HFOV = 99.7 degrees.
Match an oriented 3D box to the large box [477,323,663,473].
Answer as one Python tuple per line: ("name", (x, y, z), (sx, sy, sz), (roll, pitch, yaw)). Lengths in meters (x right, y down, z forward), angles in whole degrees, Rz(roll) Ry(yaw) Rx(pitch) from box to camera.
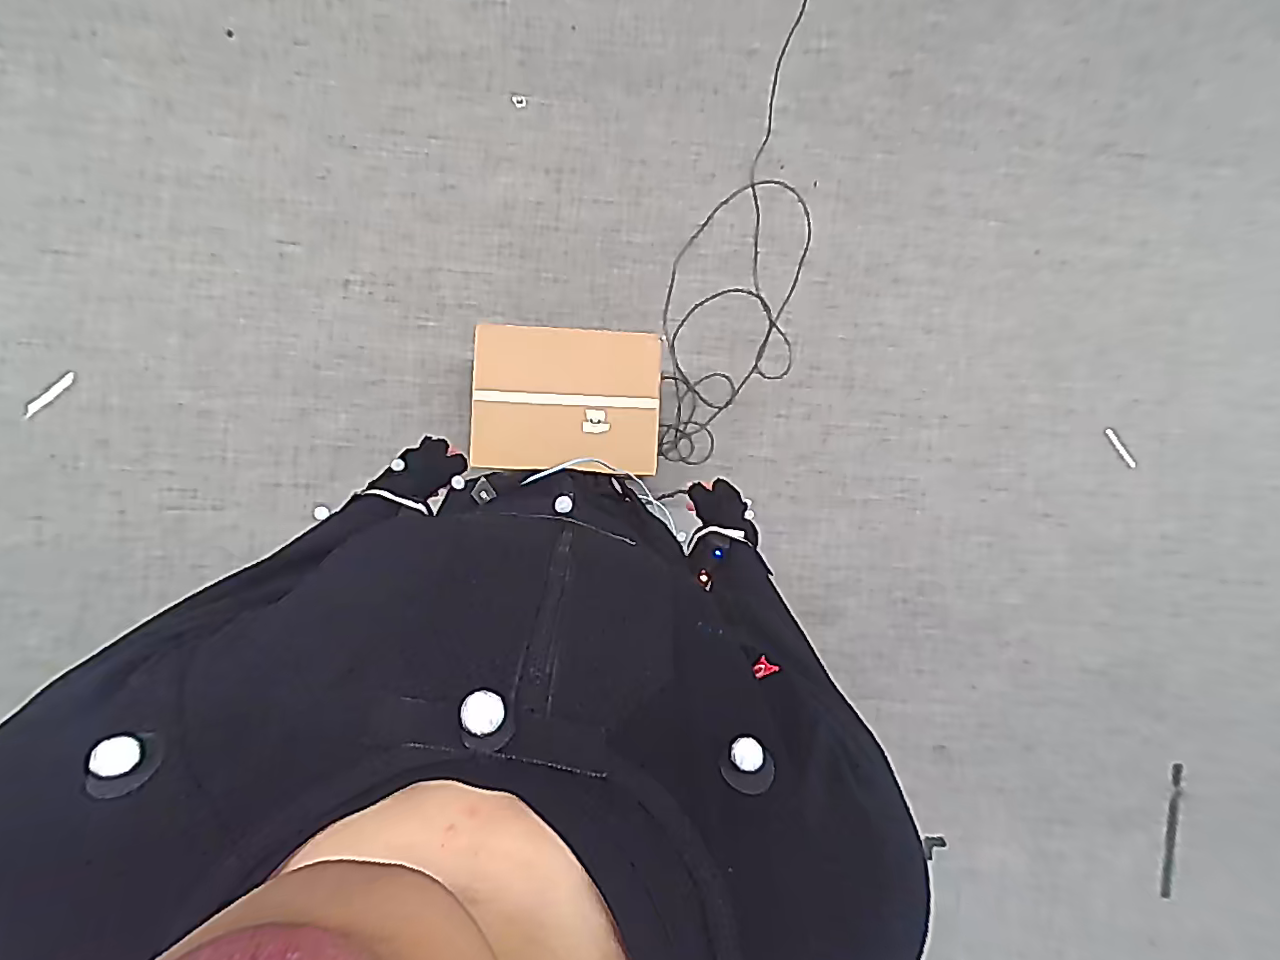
("large box", (-0.163, -0.181, 1.333), (0.408, 0.320, 0.320), (3, 90, -3))
